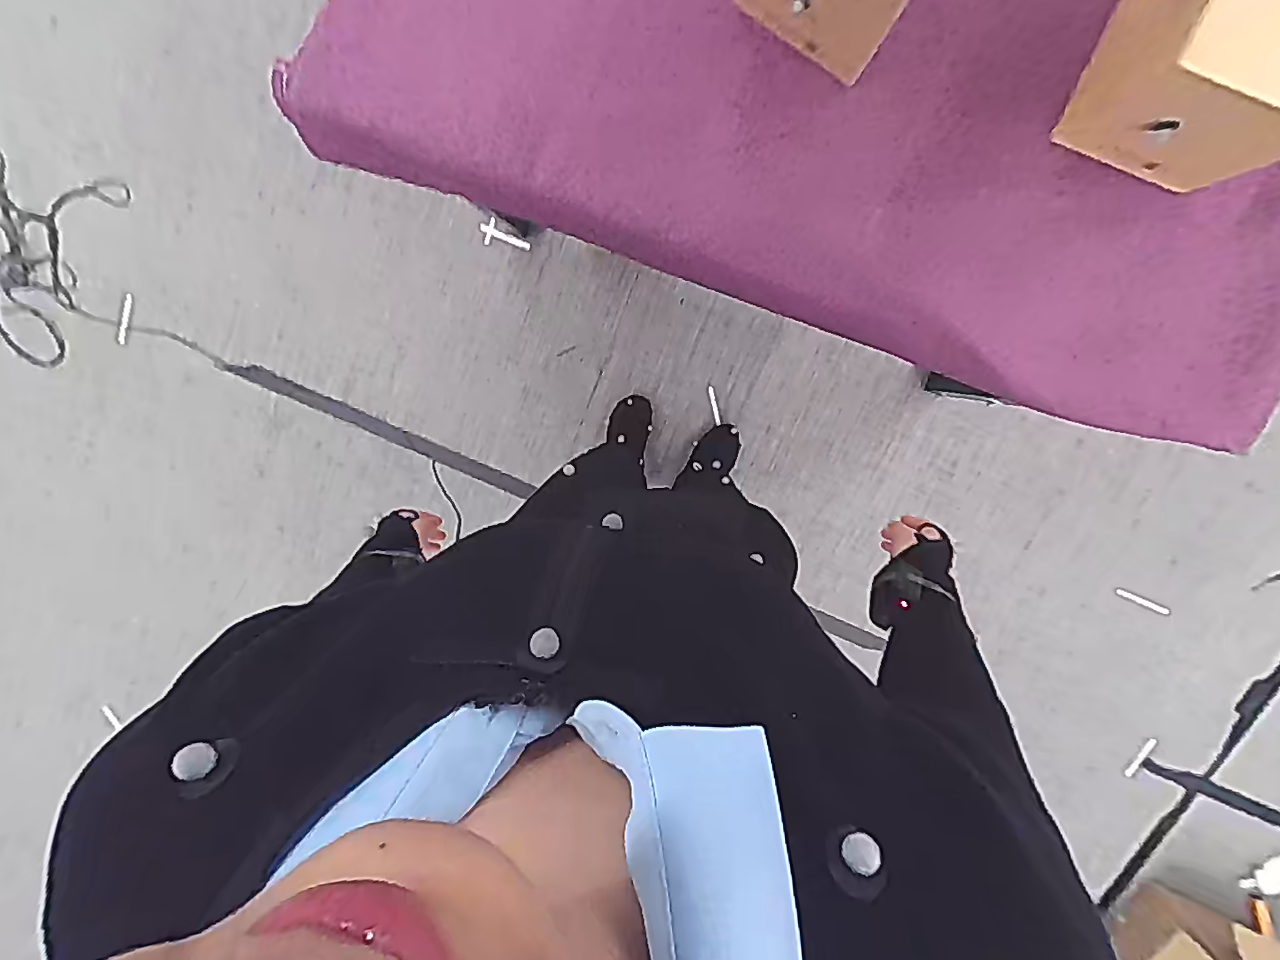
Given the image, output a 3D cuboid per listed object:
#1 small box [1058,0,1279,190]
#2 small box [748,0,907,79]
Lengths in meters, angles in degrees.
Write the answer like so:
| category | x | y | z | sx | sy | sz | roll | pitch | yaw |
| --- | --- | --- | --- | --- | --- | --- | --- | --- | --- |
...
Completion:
| category | x | y | z | sx | sy | sz | roll | pitch | yaw |
| --- | --- | --- | --- | --- | --- | --- | --- | --- | --- |
| small box | 0.569 | -0.421 | 0.532 | 0.168 | 0.176 | 0.179 | 22 | 102 | 0 |
| small box | 0.214 | -0.549 | 0.525 | 0.168 | 0.176 | 0.179 | 33 | 102 | -4 |
